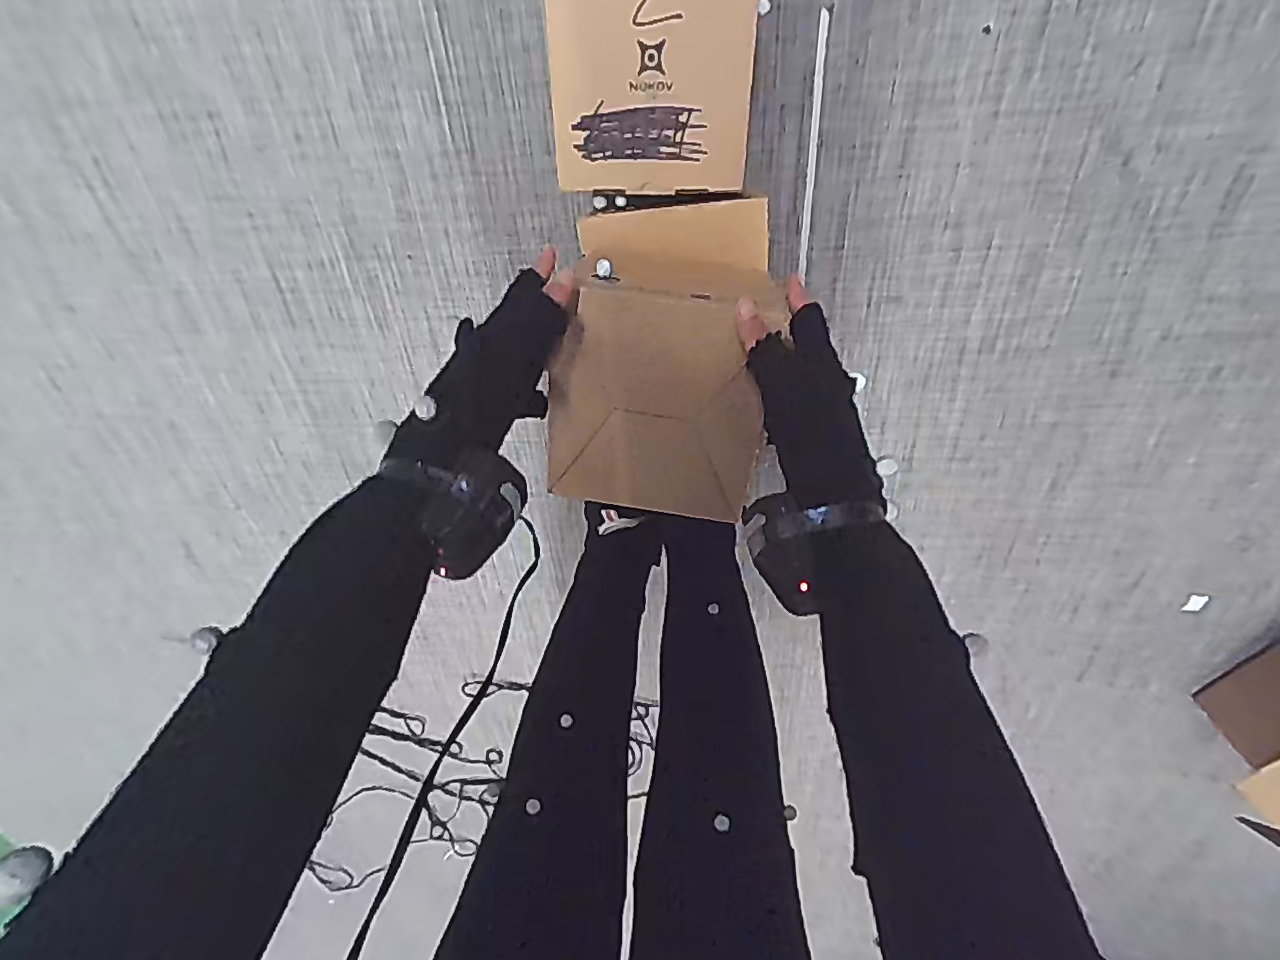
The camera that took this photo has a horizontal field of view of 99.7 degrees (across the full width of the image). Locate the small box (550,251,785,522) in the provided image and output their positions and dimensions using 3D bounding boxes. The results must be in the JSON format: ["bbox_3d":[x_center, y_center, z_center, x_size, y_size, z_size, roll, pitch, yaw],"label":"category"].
[{"bbox_3d":[0.022,-0.088,0.477,0.168,0.176,0.179,9,121,3],"label":"small box"}]
